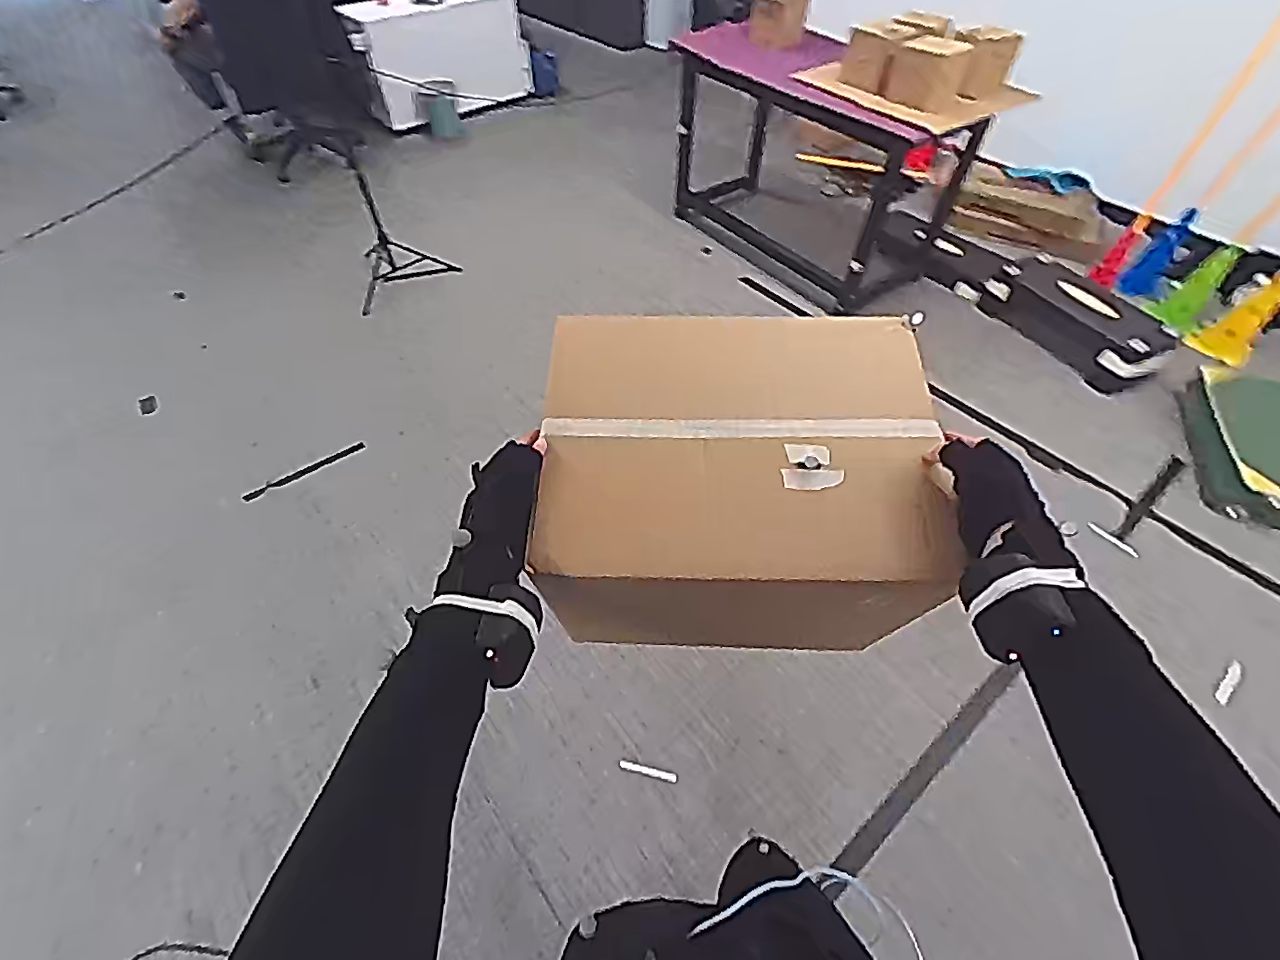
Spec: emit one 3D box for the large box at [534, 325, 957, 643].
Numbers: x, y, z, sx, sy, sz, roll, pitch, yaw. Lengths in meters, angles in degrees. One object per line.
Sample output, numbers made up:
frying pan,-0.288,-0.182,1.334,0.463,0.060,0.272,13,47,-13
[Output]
large box,0.099,0.023,0.702,0.408,0.320,0.320,0,62,2
